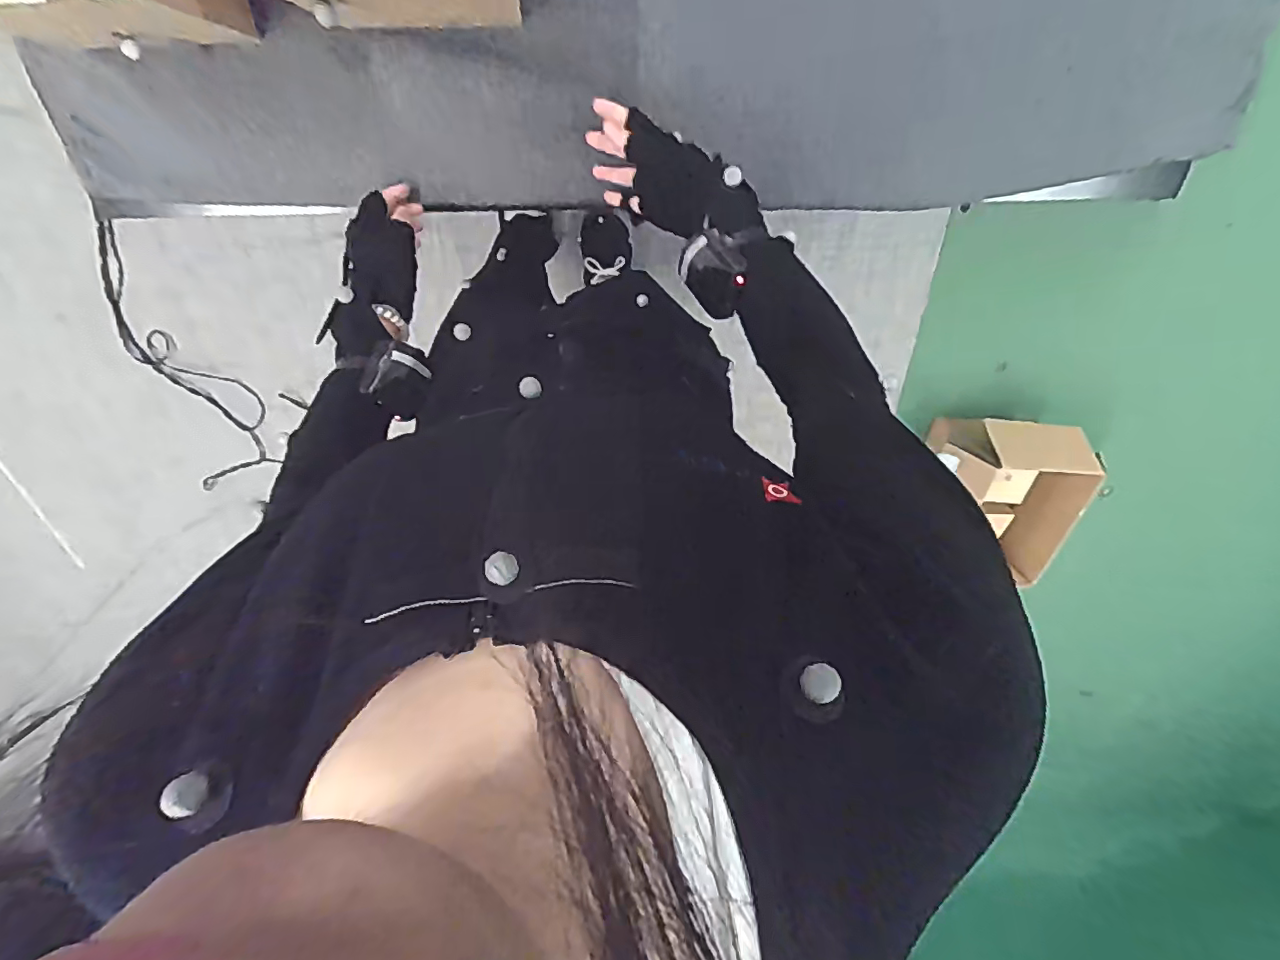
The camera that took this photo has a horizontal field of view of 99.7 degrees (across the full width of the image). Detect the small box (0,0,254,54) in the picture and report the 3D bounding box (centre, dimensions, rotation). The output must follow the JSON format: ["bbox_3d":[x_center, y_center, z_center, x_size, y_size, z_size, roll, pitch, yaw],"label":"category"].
[{"bbox_3d":[-0.422,-0.424,0.377,0.168,0.176,0.179,-5,121,-4],"label":"small box"}]
